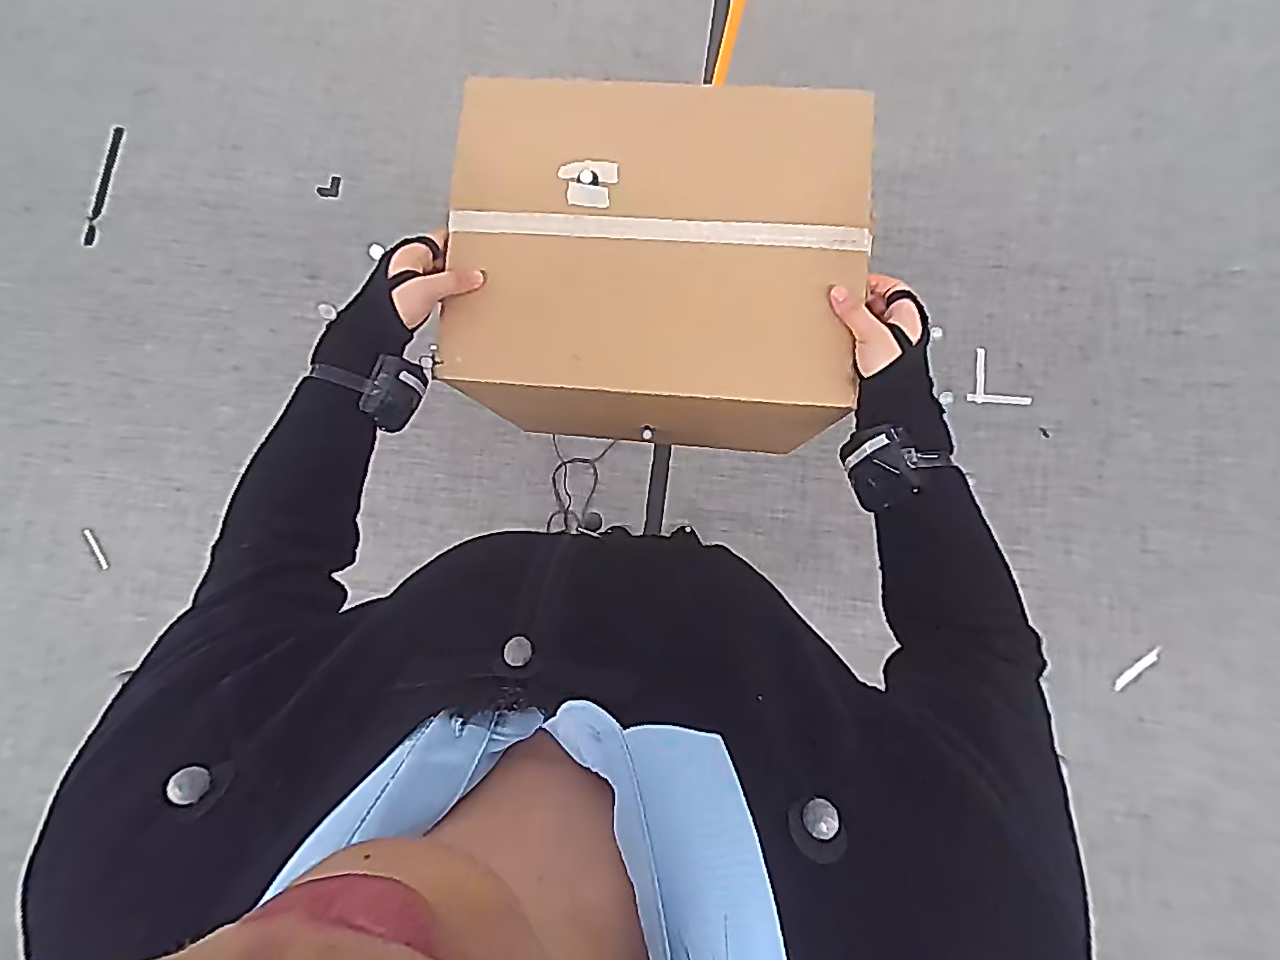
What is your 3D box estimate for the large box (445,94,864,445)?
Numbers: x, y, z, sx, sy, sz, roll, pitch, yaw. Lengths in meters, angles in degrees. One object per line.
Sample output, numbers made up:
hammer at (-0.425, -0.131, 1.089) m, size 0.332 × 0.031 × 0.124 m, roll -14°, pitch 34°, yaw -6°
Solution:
large box at (0.026, -0.224, 0.679) m, size 0.408 × 0.320 × 0.320 m, roll 5°, pitch 84°, yaw 5°
